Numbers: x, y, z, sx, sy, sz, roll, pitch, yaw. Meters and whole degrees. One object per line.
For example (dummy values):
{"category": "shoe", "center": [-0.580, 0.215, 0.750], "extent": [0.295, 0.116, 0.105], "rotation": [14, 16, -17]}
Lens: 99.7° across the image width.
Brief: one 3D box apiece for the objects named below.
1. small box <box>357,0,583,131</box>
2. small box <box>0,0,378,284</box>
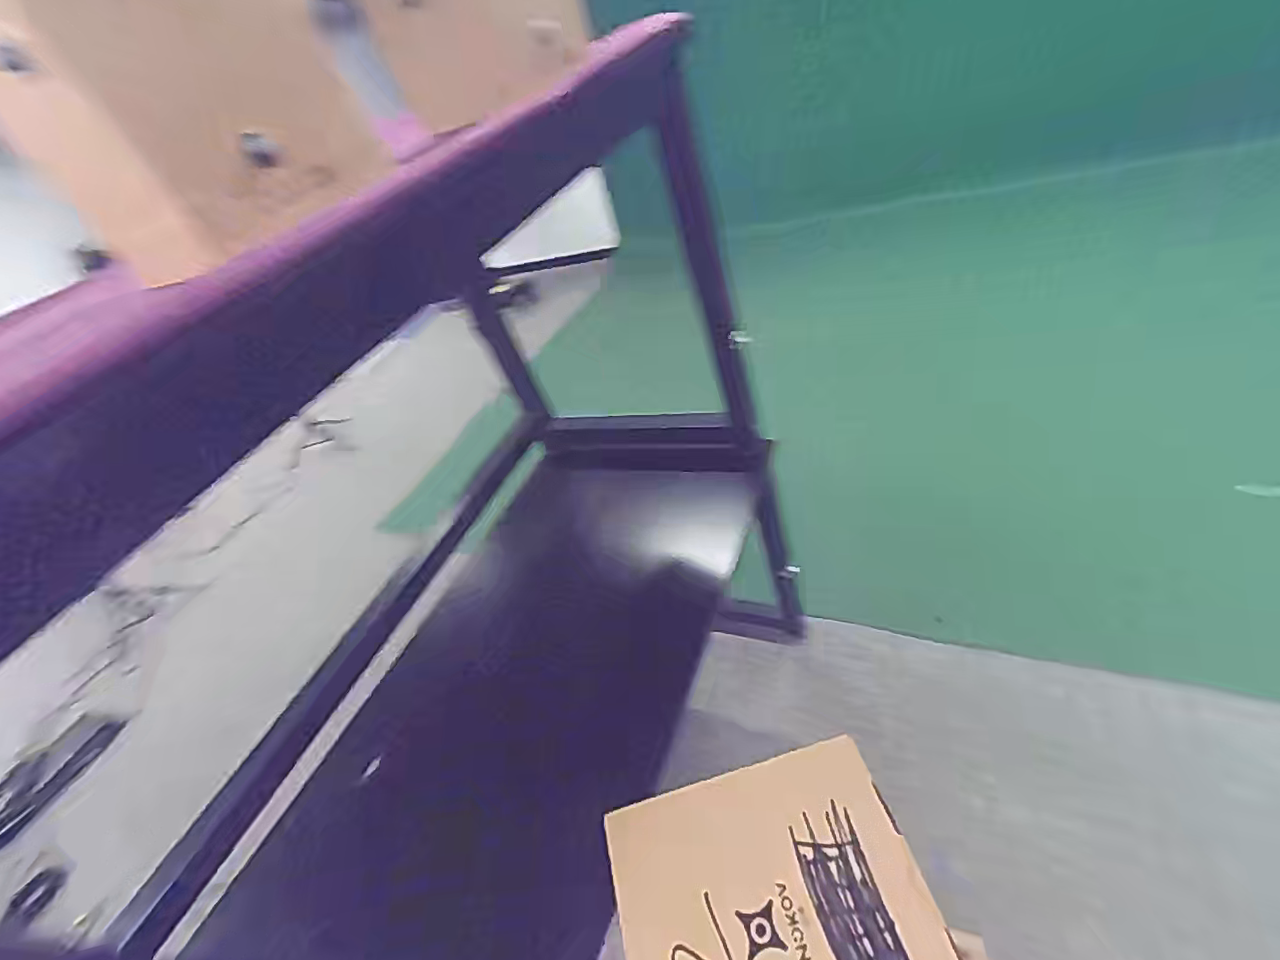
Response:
{"category": "small box", "center": [-0.200, -0.540, 0.639], "extent": [0.179, 0.176, 0.168], "rotation": [8, 50, 32]}
{"category": "small box", "center": [-0.351, -0.266, 0.413], "extent": [0.179, 0.176, 0.168], "rotation": [6, 48, 32]}
